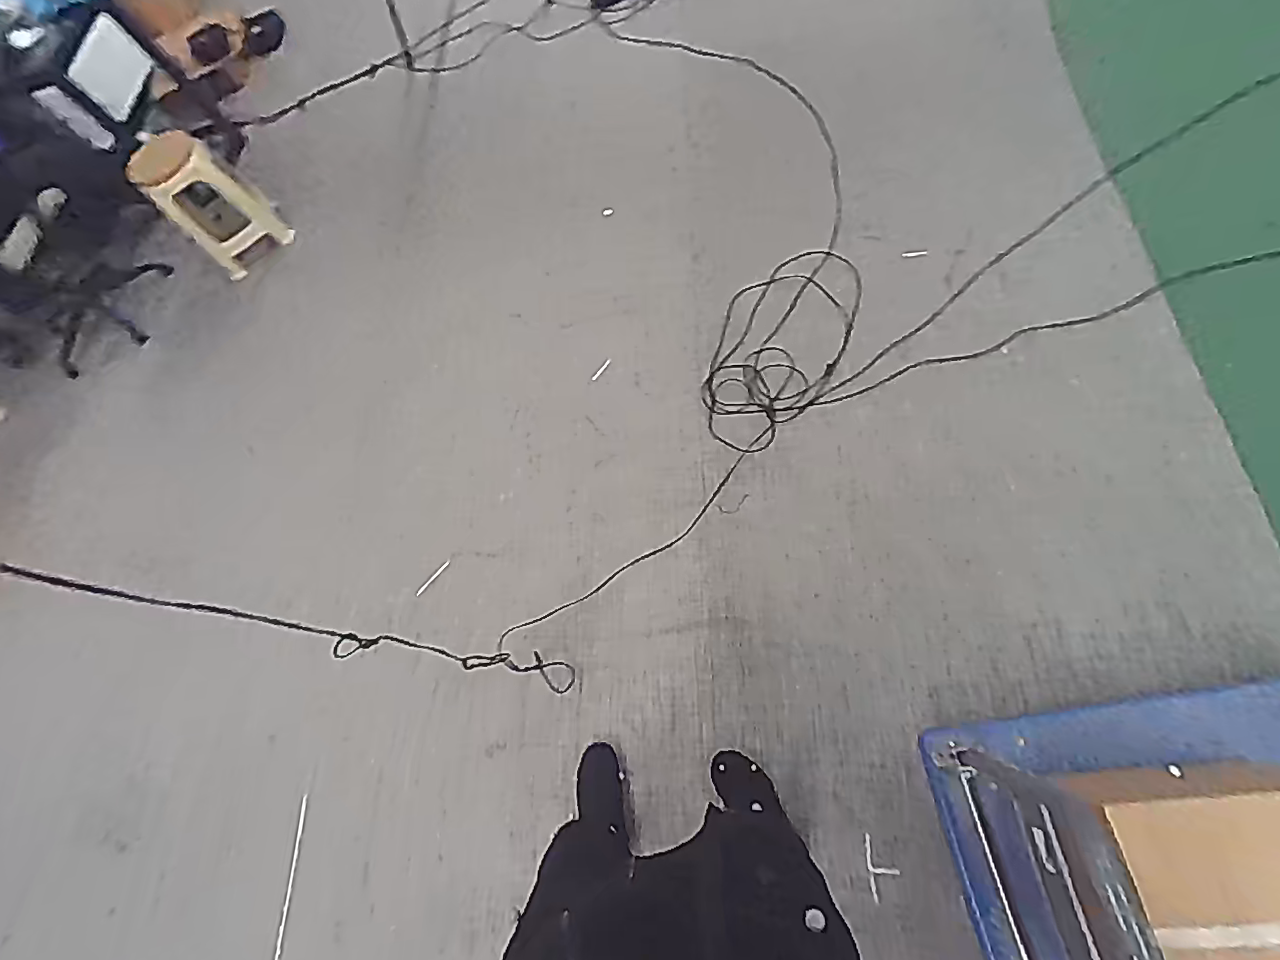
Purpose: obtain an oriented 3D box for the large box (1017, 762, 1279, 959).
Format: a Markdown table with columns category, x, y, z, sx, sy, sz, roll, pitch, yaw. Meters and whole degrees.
| category | x | y | z | sx | sy | sz | roll | pitch | yaw |
| --- | --- | --- | --- | --- | --- | --- | --- | --- | --- |
| large box | 0.915 | 0.641 | 0.842 | 0.408 | 0.320 | 0.320 | -10 | 67 | 9 |
